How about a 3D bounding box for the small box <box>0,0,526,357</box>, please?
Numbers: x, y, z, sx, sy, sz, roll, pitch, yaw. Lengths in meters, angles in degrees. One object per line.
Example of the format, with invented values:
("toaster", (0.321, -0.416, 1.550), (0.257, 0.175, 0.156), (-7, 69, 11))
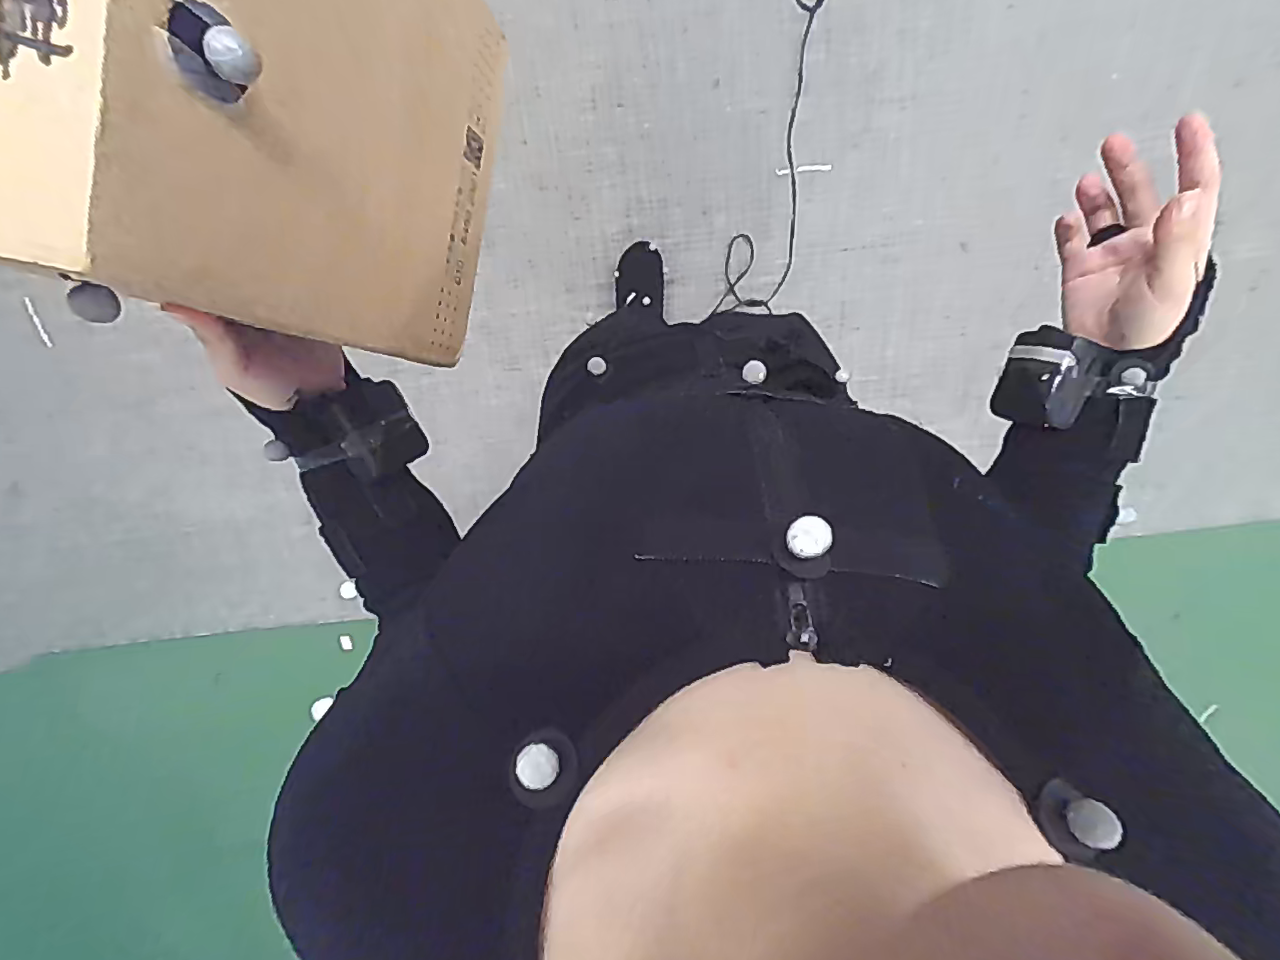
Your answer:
("small box", (-0.172, -0.154, 0.225), (0.179, 0.176, 0.168), (13, 98, 12))
